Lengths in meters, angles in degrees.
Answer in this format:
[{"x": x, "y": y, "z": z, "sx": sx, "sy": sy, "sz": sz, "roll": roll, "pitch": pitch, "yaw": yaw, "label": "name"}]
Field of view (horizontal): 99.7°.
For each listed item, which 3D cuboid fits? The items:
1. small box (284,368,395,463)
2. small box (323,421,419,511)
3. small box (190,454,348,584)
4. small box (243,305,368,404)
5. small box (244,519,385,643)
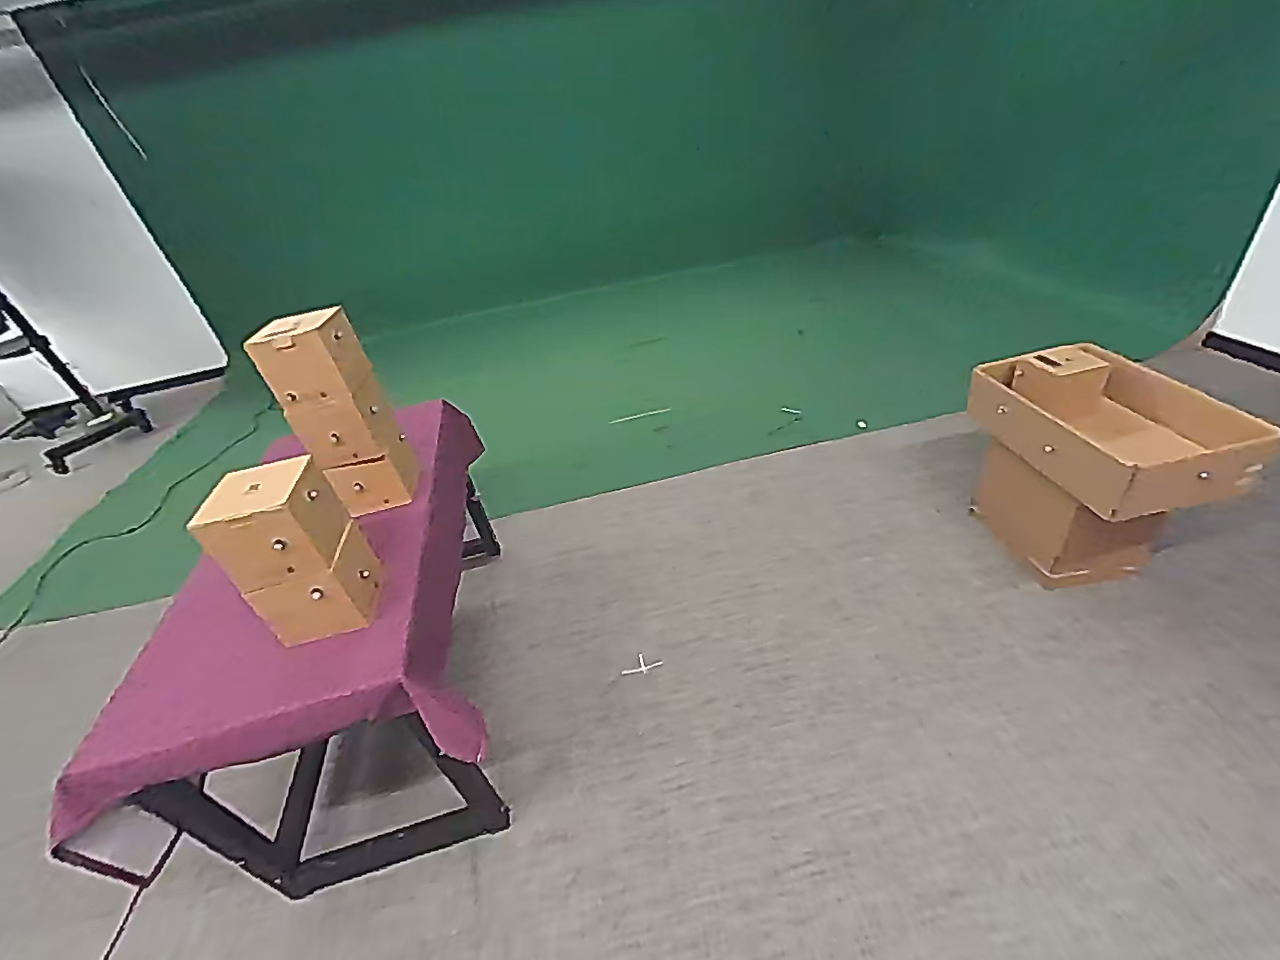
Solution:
[{"x": -0.751, "y": -0.158, "z": 1.377, "sx": 0.168, "sy": 0.176, "sz": 0.179, "roll": -13, "pitch": 37, "yaw": -1, "label": "small box"}, {"x": -0.724, "y": -0.033, "z": 1.479, "sx": 0.168, "sy": 0.176, "sz": 0.179, "roll": -15, "pitch": 36, "yaw": -4, "label": "small box"}, {"x": -0.695, "y": 0.080, "z": 1.041, "sx": 0.168, "sy": 0.176, "sz": 0.179, "roll": -14, "pitch": 36, "yaw": -4, "label": "small box"}, {"x": -0.780, "y": -0.294, "z": 1.287, "sx": 0.168, "sy": 0.176, "sz": 0.179, "roll": -13, "pitch": 35, "yaw": 0, "label": "small box"}, {"x": -0.666, "y": 0.212, "z": 1.134, "sx": 0.179, "sy": 0.176, "sz": 0.168, "roll": -14, "pitch": 36, "yaw": -3, "label": "small box"}]
